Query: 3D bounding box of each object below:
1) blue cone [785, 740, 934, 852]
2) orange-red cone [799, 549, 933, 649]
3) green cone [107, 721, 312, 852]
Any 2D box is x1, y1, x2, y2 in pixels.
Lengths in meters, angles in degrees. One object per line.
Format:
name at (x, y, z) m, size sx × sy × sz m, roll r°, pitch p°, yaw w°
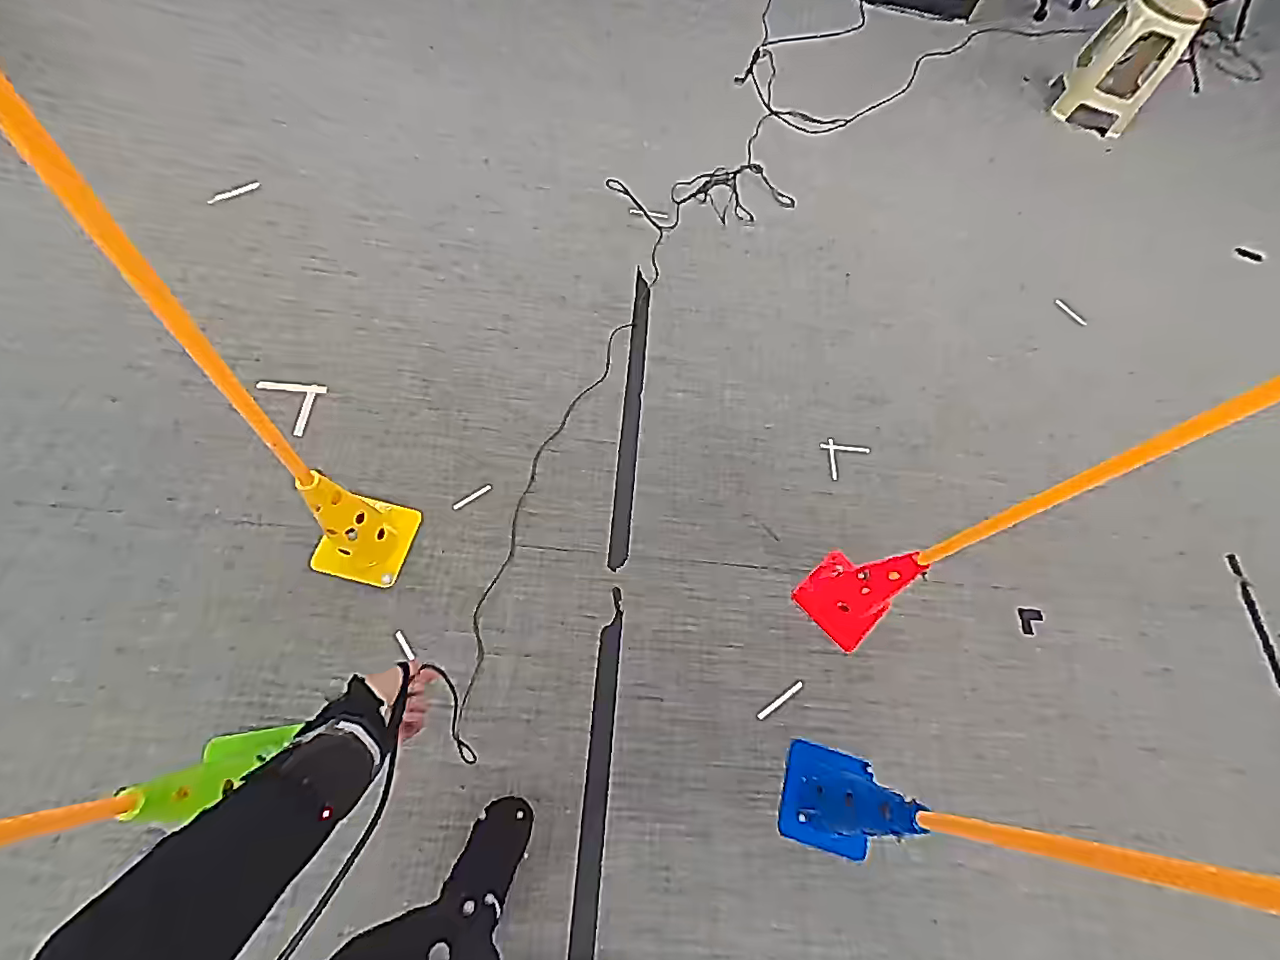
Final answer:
blue cone at (0.438, 0.618, 1.041) m, size 0.193 × 0.380 × 0.192 m, roll 20°, pitch 62°, yaw 2°
orange-red cone at (0.546, 0.231, 1.229) m, size 0.199 × 0.360 × 0.198 m, roll -36°, pitch 74°, yaw -21°
green cone at (-0.730, 0.513, 0.900) m, size 0.200 × 0.368 × 0.202 m, roll -6°, pitch 64°, yaw -11°
